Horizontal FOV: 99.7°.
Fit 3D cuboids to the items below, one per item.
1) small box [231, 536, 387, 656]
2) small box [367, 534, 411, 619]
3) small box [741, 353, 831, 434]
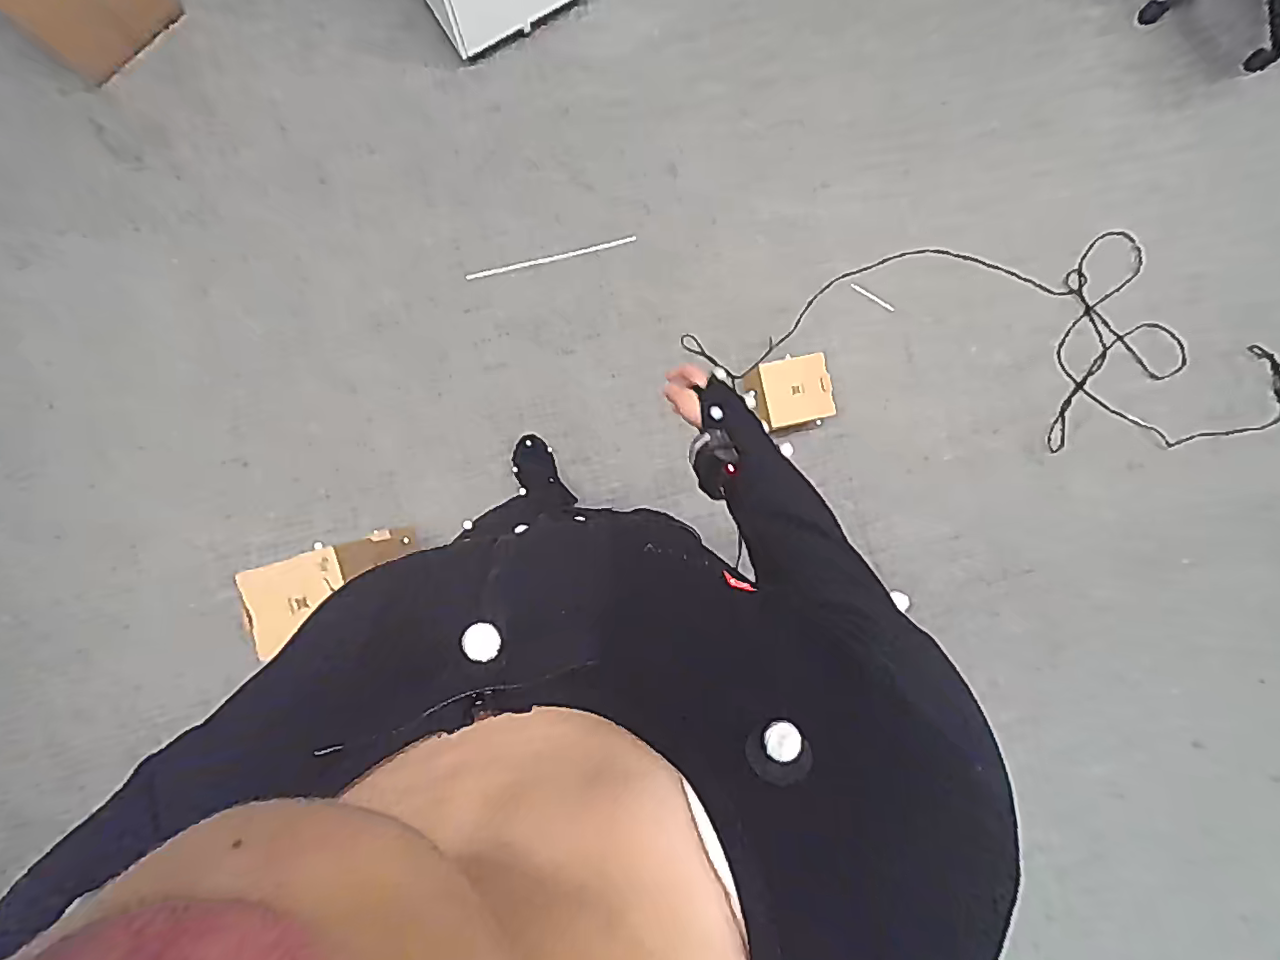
[{"bbox_3d":[-0.618,0.211,1.030,0.179,0.176,0.168,-16,91,-4],"label":"small box"},{"bbox_3d":[-0.635,0.223,1.193,0.179,0.176,0.168,-16,91,-6],"label":"small box"},{"bbox_3d":[0.378,-0.224,1.439,0.179,0.176,0.168,-12,90,-5],"label":"small box"}]
